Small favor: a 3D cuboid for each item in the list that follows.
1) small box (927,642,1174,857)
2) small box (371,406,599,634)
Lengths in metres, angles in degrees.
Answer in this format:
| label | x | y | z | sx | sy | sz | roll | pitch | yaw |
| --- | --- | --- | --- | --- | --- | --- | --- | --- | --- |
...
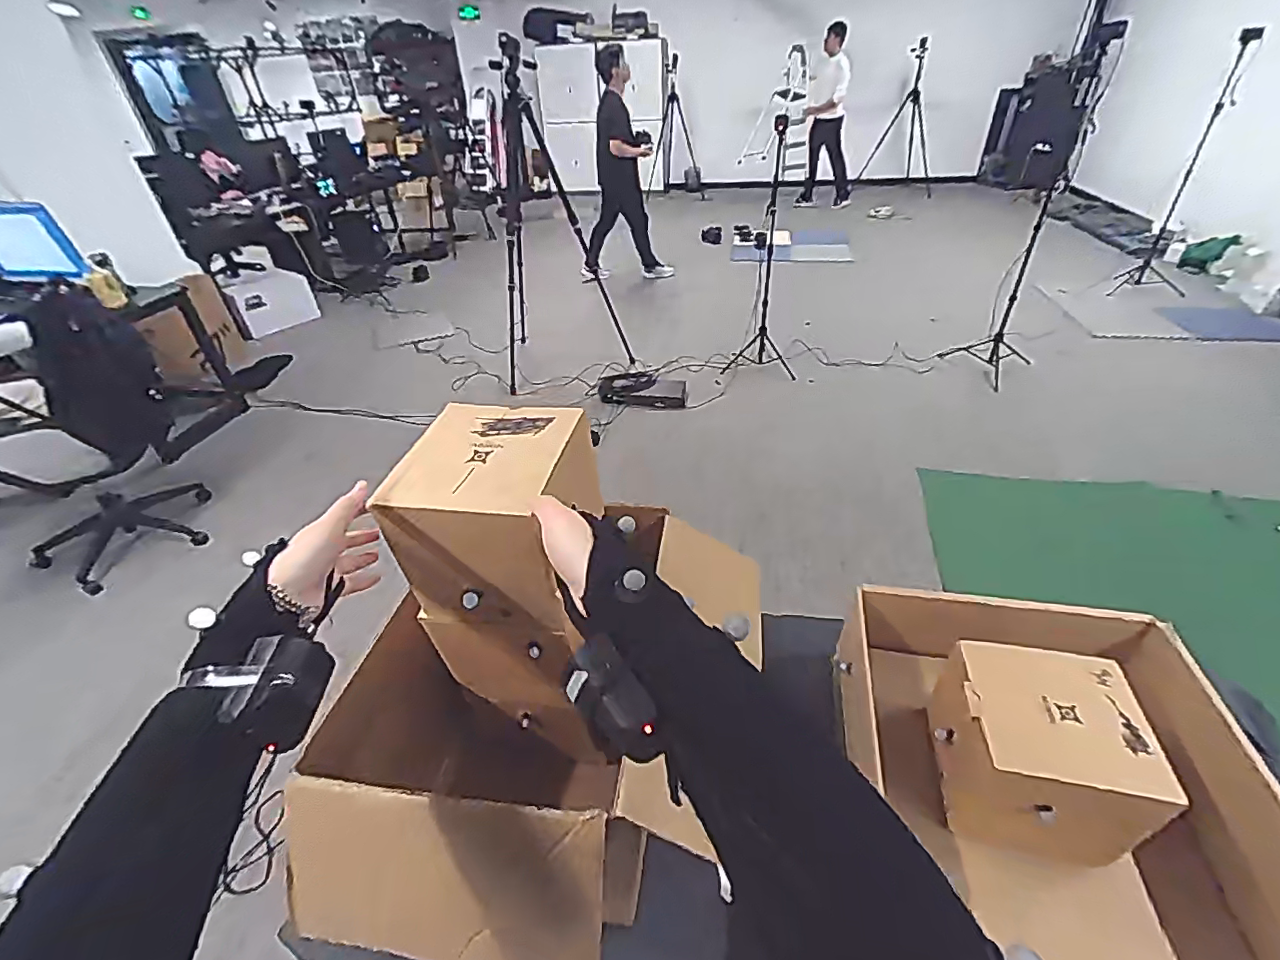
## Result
| label | x | y | z | sx | sy | sz | roll | pitch | yaw |
| --- | --- | --- | --- | --- | --- | --- | --- | --- | --- |
| small box | 0.466 | 0.325 | 0.657 | 0.179 | 0.176 | 0.168 | 5 | 40 | 13 |
| small box | -0.148 | 0.039 | 0.593 | 0.168 | 0.176 | 0.179 | 4 | 41 | 12 |
